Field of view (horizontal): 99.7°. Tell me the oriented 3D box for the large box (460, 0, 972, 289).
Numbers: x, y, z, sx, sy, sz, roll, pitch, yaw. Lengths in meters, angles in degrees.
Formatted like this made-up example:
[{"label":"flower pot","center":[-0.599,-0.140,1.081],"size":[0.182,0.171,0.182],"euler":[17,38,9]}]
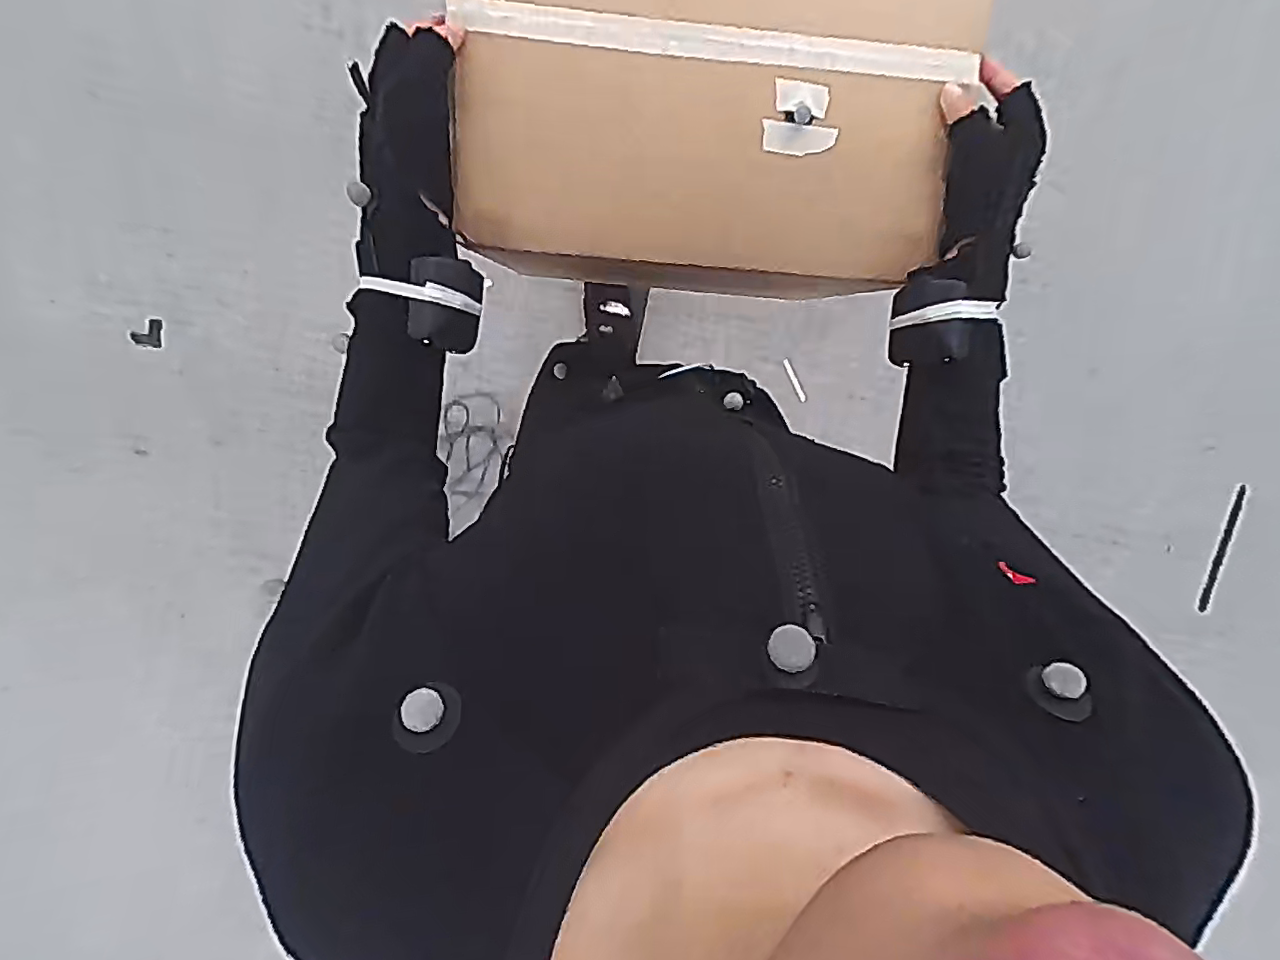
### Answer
[{"label":"large box","center":[0.049,-0.384,0.567],"size":[0.408,0.320,0.320],"euler":[3,107,-4]}]
